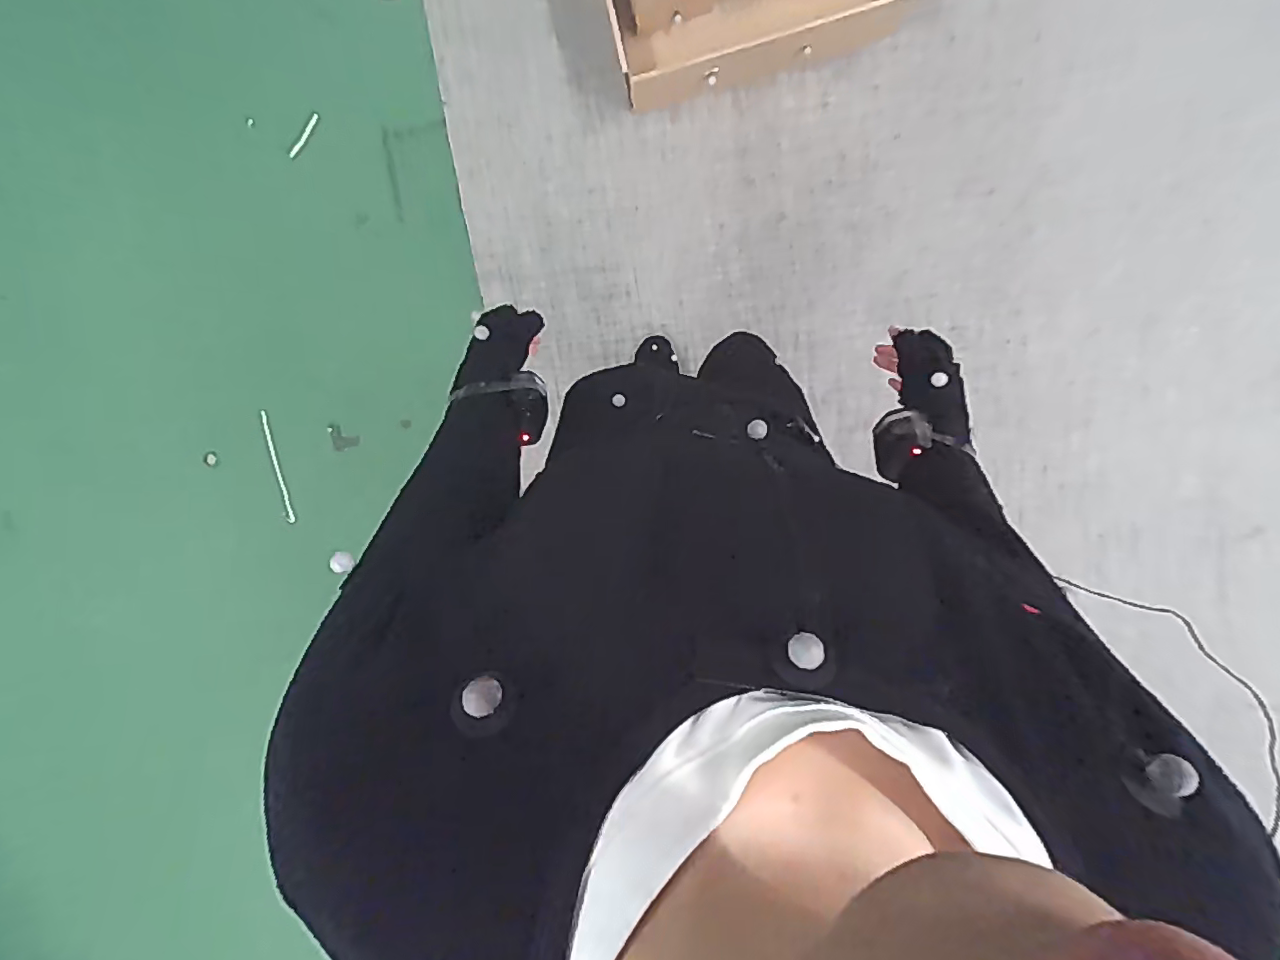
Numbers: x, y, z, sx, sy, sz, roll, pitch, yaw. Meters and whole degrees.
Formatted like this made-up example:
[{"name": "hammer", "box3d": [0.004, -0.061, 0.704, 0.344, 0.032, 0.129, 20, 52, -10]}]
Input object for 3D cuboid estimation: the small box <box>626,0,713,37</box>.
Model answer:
[{"name": "small box", "box3d": [0.053, -1.028, 1.063, 0.179, 0.176, 0.168, -16, 103, 4]}]
